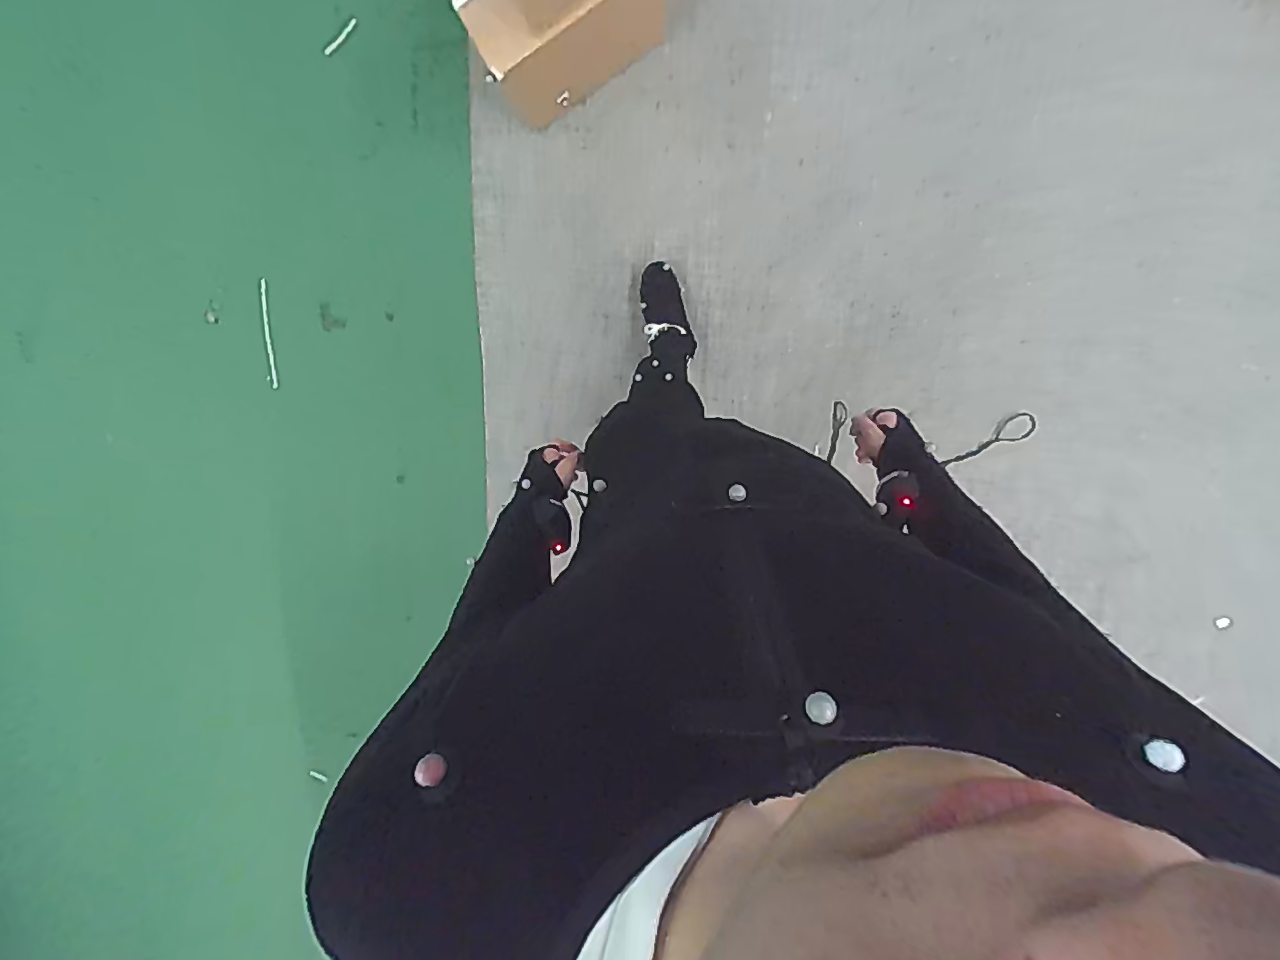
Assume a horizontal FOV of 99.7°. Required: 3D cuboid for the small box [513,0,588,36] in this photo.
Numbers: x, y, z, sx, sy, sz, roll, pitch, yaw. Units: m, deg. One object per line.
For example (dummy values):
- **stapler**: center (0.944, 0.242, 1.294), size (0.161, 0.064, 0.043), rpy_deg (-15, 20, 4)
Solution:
- **small box**: center (-0.183, -0.978, 0.986), size (0.179, 0.176, 0.168), rpy_deg (-28, 101, 12)
